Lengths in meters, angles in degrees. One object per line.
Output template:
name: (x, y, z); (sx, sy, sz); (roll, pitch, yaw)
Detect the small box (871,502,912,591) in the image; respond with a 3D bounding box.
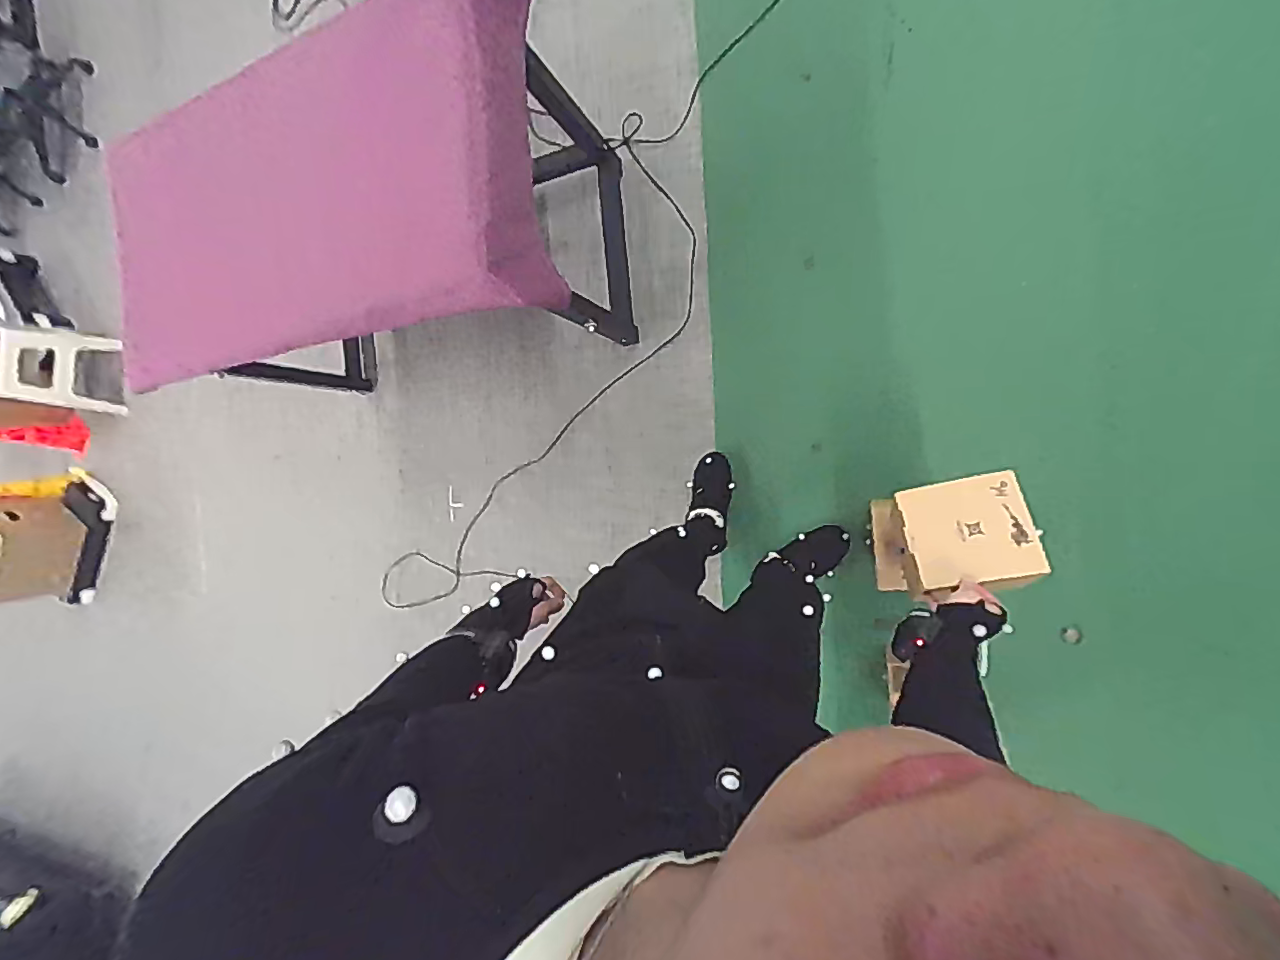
small box: (0.586, 0.134, 1.149); (0.168, 0.176, 0.179); (-4, 90, 23)

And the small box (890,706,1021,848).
small box: (0.567, 0.531, 0.993); (0.179, 0.176, 0.168); (-10, 89, 25)

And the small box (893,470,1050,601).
small box: (0.532, 0.102, 0.899); (0.179, 0.176, 0.168); (-13, 68, 18)

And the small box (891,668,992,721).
small box: (0.631, 0.509, 1.142); (0.179, 0.176, 0.168); (-4, 92, 24)
